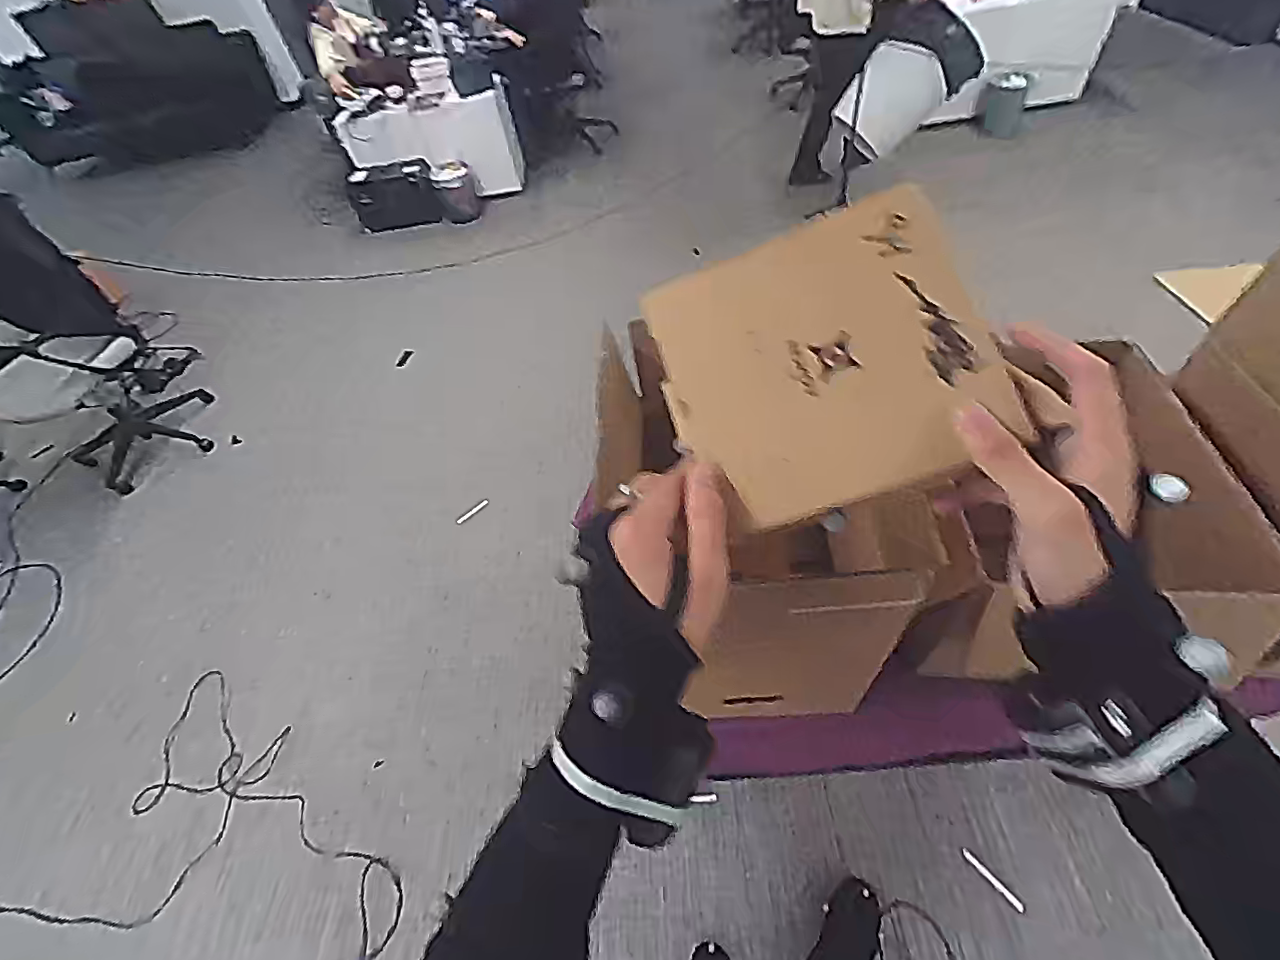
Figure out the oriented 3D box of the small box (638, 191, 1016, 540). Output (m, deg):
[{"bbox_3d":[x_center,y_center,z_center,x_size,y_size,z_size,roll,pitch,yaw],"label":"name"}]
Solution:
[{"bbox_3d":[0.119,-0.058,0.396,0.179,0.176,0.168,-19,78,10],"label":"small box"}]
